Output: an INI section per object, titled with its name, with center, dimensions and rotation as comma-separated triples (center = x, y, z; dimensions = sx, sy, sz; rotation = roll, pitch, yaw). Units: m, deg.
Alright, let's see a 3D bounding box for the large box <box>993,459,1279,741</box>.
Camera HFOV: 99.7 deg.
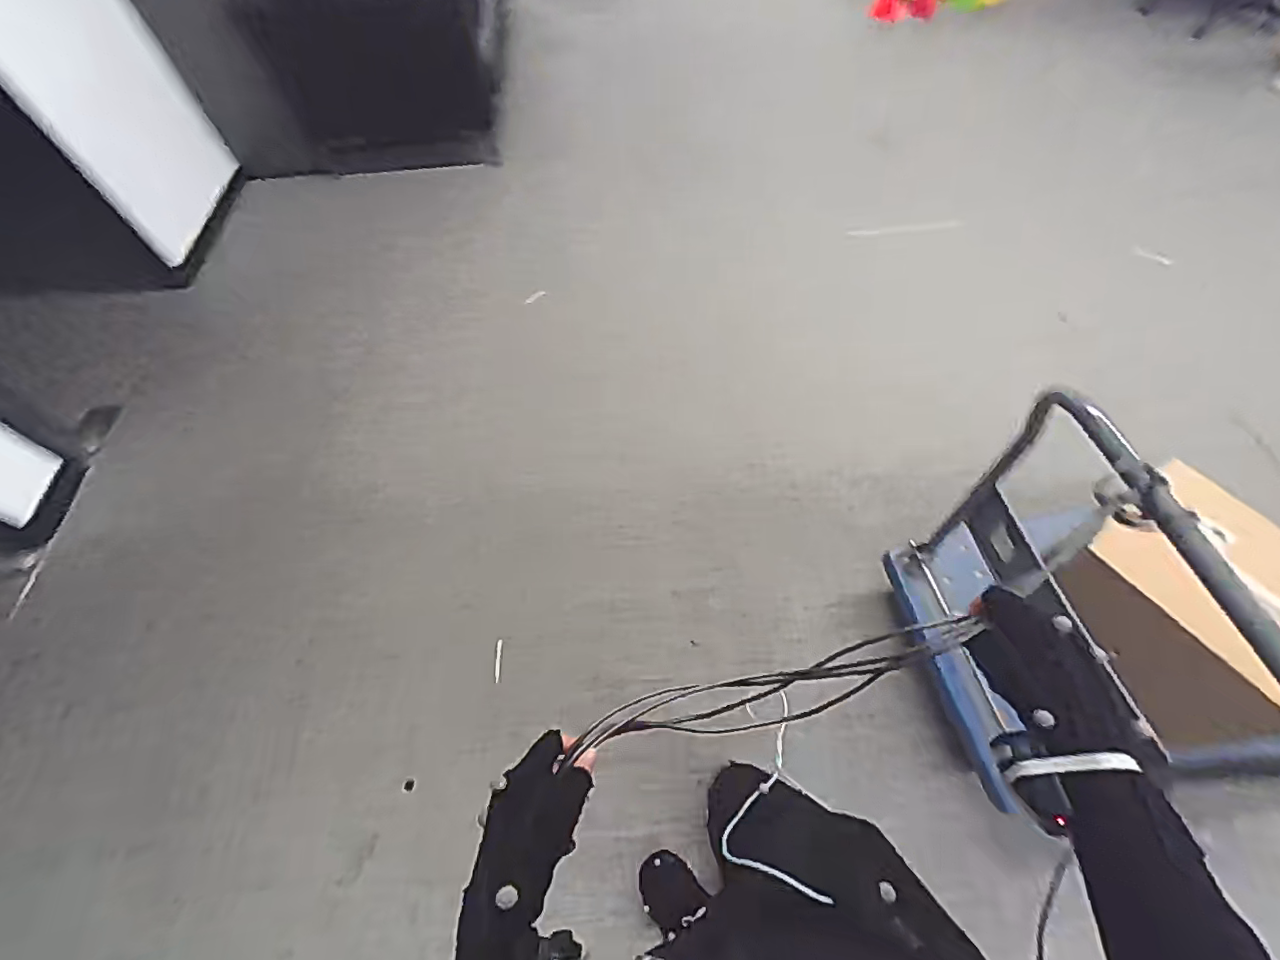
[large box]
center = 1.050, 0.245, 1.094
dimensions = 0.320, 0.320, 0.408
rotation = -30, 61, -14
